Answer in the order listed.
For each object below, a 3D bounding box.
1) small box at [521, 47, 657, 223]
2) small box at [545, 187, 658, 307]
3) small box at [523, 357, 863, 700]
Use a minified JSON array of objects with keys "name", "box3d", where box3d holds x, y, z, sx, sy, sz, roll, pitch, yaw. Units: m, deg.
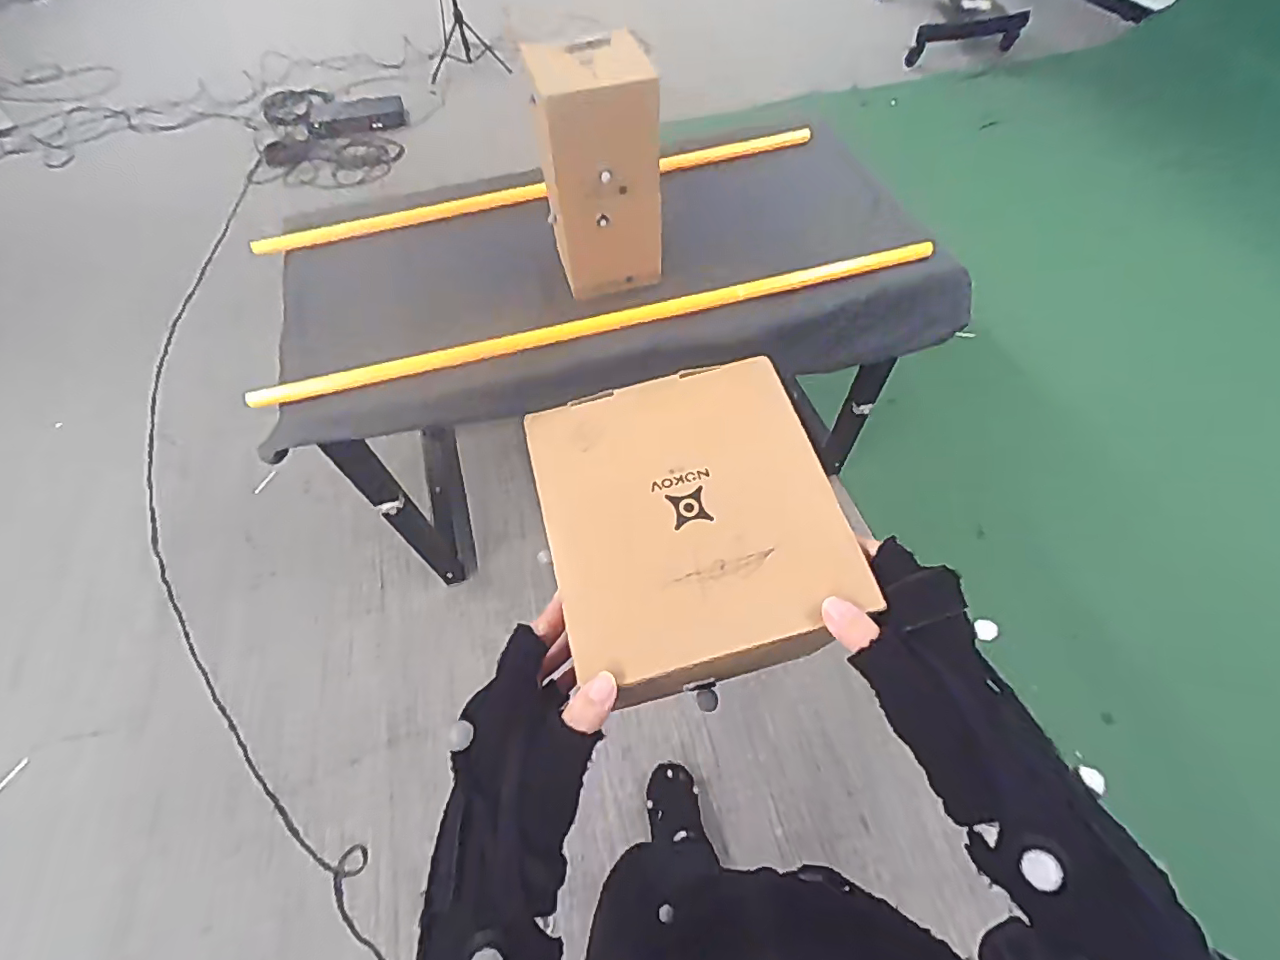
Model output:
[{"name":"small box","box3d":[-0.077,-0.534,0.842,0.168,0.176,0.179,-15,58,-8]},{"name":"small box","box3d":[-0.069,-0.446,0.982,0.168,0.176,0.179,-15,57,-7]},{"name":"small box","box3d":[0.025,0.045,0.394,0.168,0.176,0.179,-15,64,-4]}]
